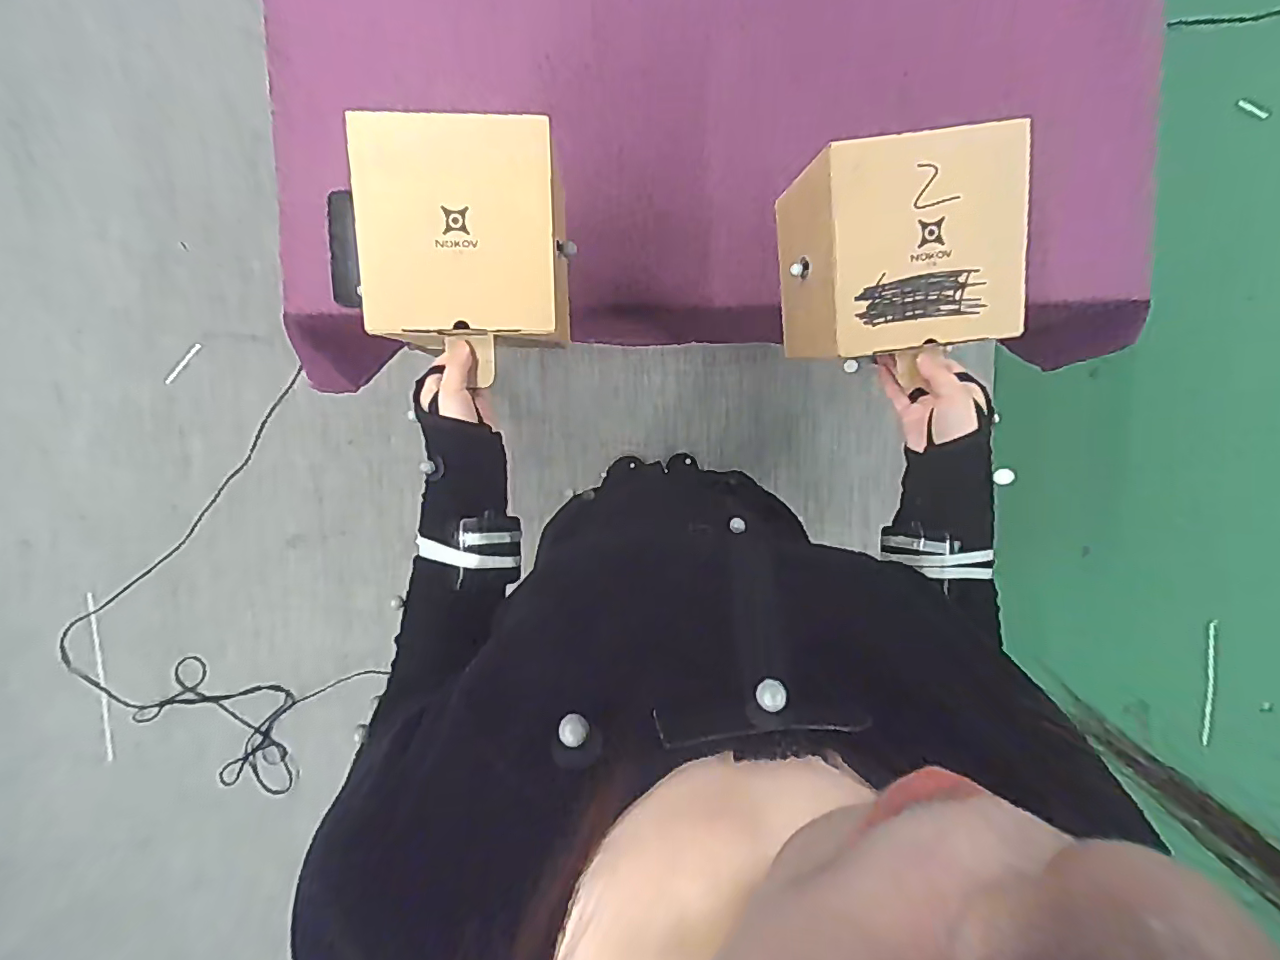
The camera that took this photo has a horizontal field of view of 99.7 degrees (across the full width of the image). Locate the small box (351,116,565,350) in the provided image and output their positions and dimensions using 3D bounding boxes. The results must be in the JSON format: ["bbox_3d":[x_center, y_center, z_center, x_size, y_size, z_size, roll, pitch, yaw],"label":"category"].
[{"bbox_3d":[-0.164,-0.227,0.542,0.168,0.176,0.179,0,101,-4],"label":"small box"}]
